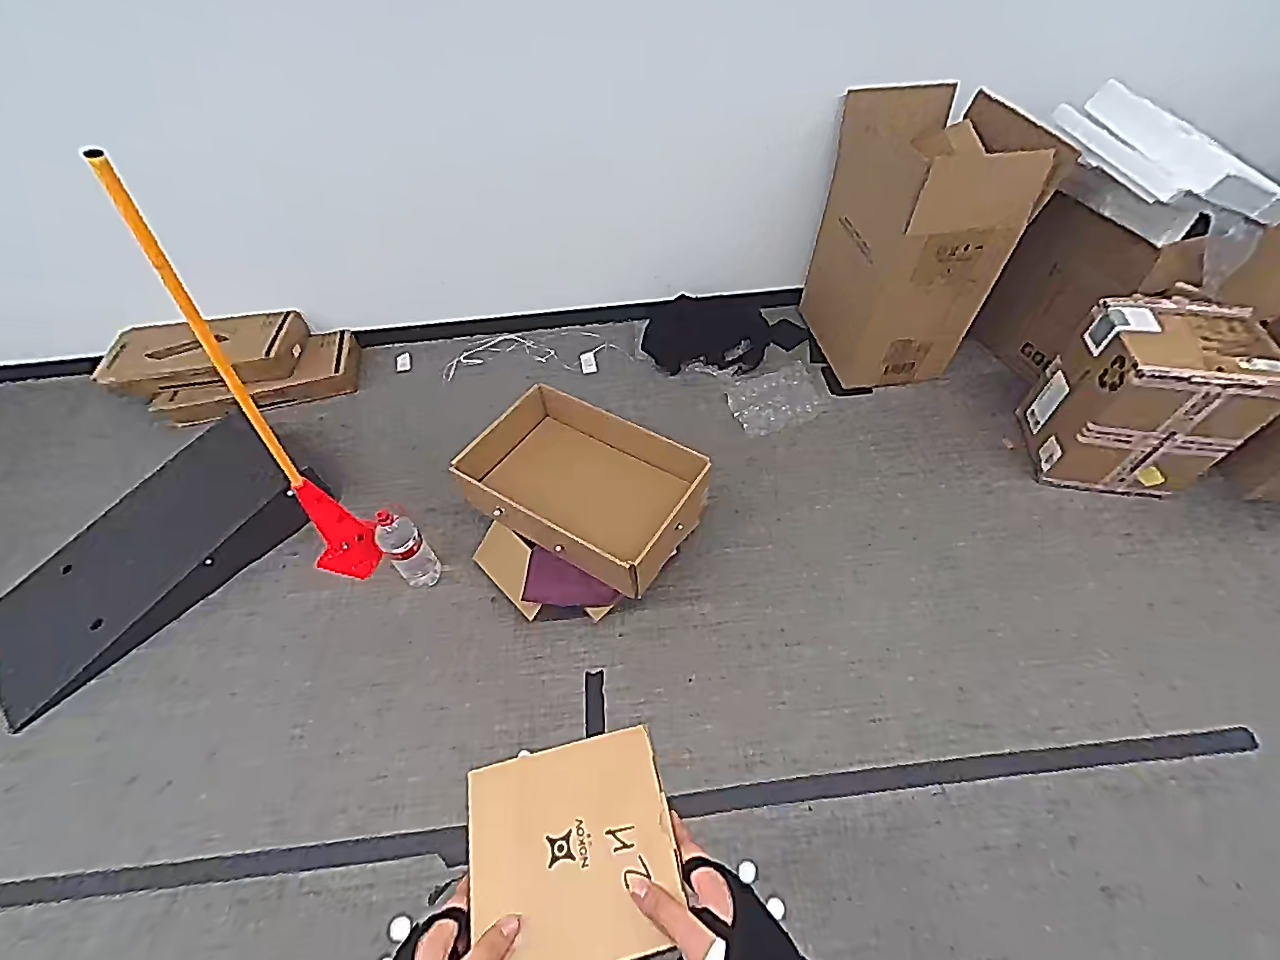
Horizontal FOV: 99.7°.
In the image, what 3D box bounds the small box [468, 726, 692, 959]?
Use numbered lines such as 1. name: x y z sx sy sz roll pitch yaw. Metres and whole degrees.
1. small box: -0.053 0.366 0.522 0.179 0.176 0.168 -12 49 -6
